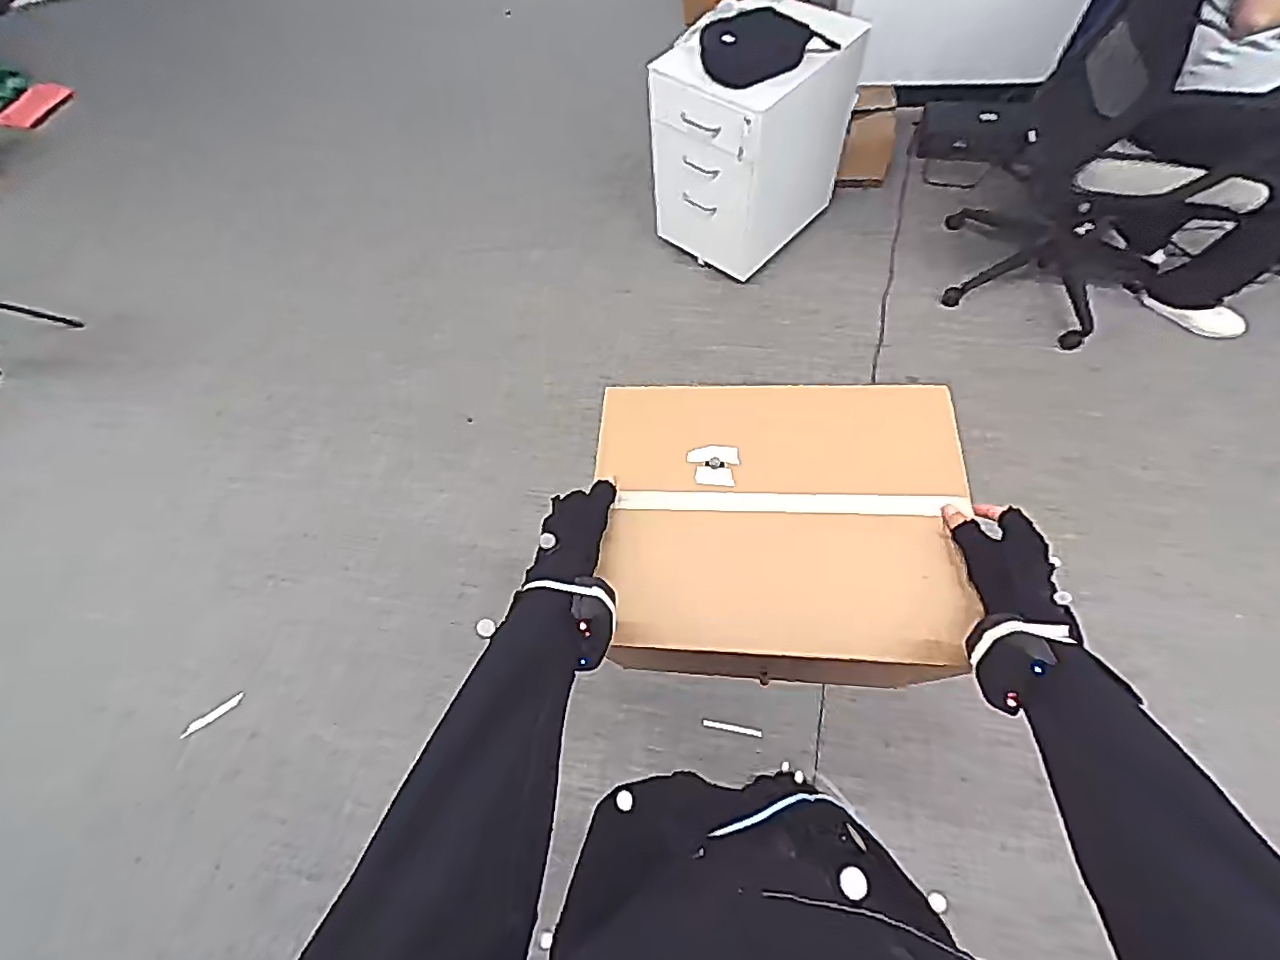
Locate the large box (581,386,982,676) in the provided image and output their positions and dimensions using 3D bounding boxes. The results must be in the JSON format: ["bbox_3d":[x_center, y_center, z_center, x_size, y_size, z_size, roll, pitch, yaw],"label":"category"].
[{"bbox_3d":[0.164,0.089,0.738,0.408,0.320,0.320,1,65,9],"label":"large box"}]
